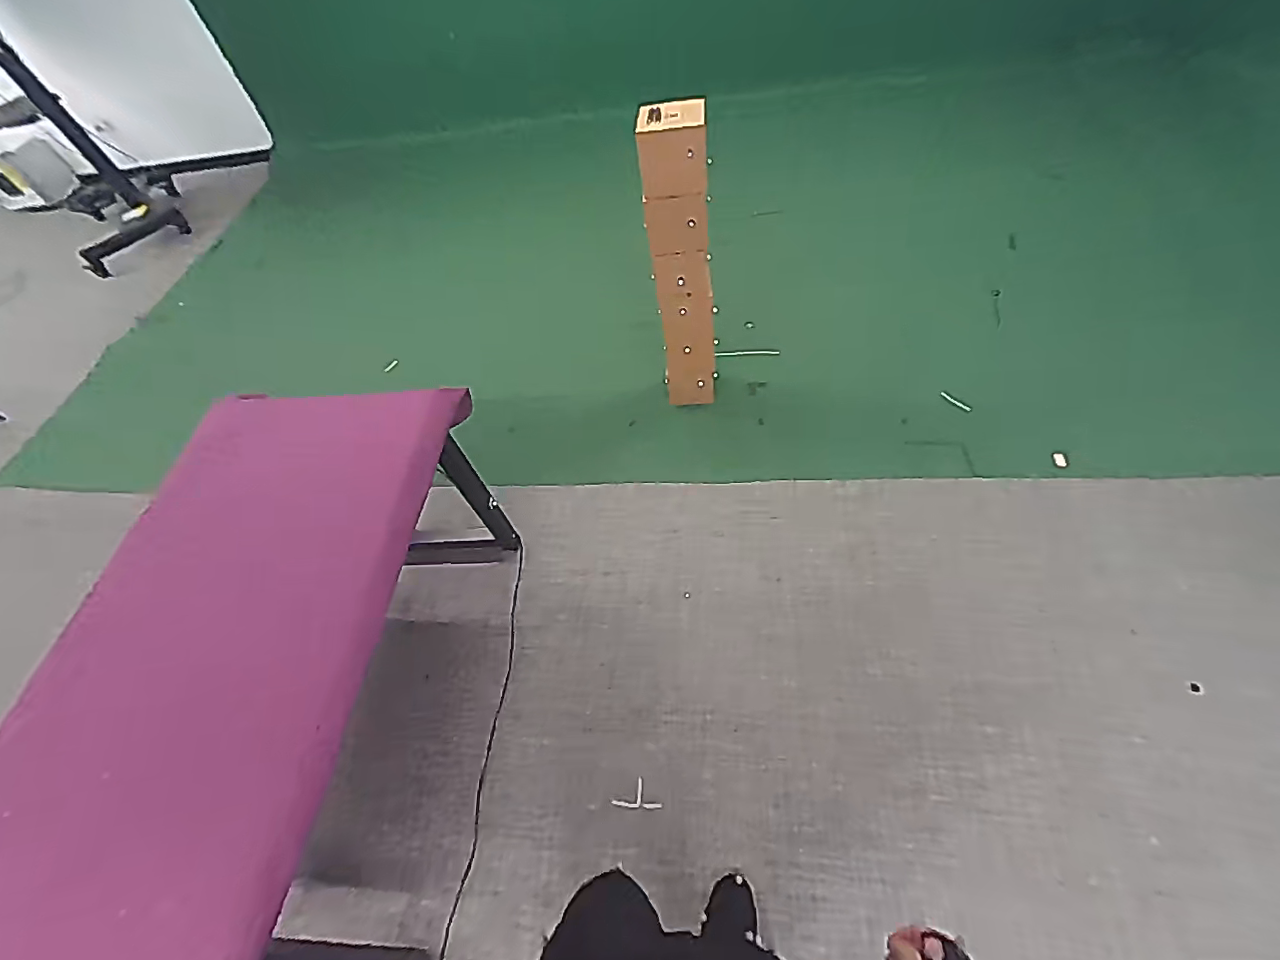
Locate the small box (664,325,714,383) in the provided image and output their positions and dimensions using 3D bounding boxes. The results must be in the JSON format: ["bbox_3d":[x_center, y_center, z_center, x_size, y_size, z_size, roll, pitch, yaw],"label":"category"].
[{"bbox_3d":[0.183,-0.477,1.991,0.179,0.176,0.168,-4,54,8],"label":"small box"}]

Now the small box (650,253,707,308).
[{"bbox_3d":[0.127,-0.669,1.732,0.168,0.176,0.179,-3,55,8],"label":"small box"}]

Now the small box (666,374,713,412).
[{"bbox_3d":[0.198,-0.380,2.121,0.179,0.176,0.168,-1,54,9],"label":"small box"}]

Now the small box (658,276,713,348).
[{"bbox_3d":[0.157,-0.573,1.861,0.179,0.176,0.168,-4,54,6],"label":"small box"}]

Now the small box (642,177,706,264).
[{"bbox_3d":[0.107,-0.766,1.602,0.179,0.176,0.168,-3,53,9],"label":"small box"}]
